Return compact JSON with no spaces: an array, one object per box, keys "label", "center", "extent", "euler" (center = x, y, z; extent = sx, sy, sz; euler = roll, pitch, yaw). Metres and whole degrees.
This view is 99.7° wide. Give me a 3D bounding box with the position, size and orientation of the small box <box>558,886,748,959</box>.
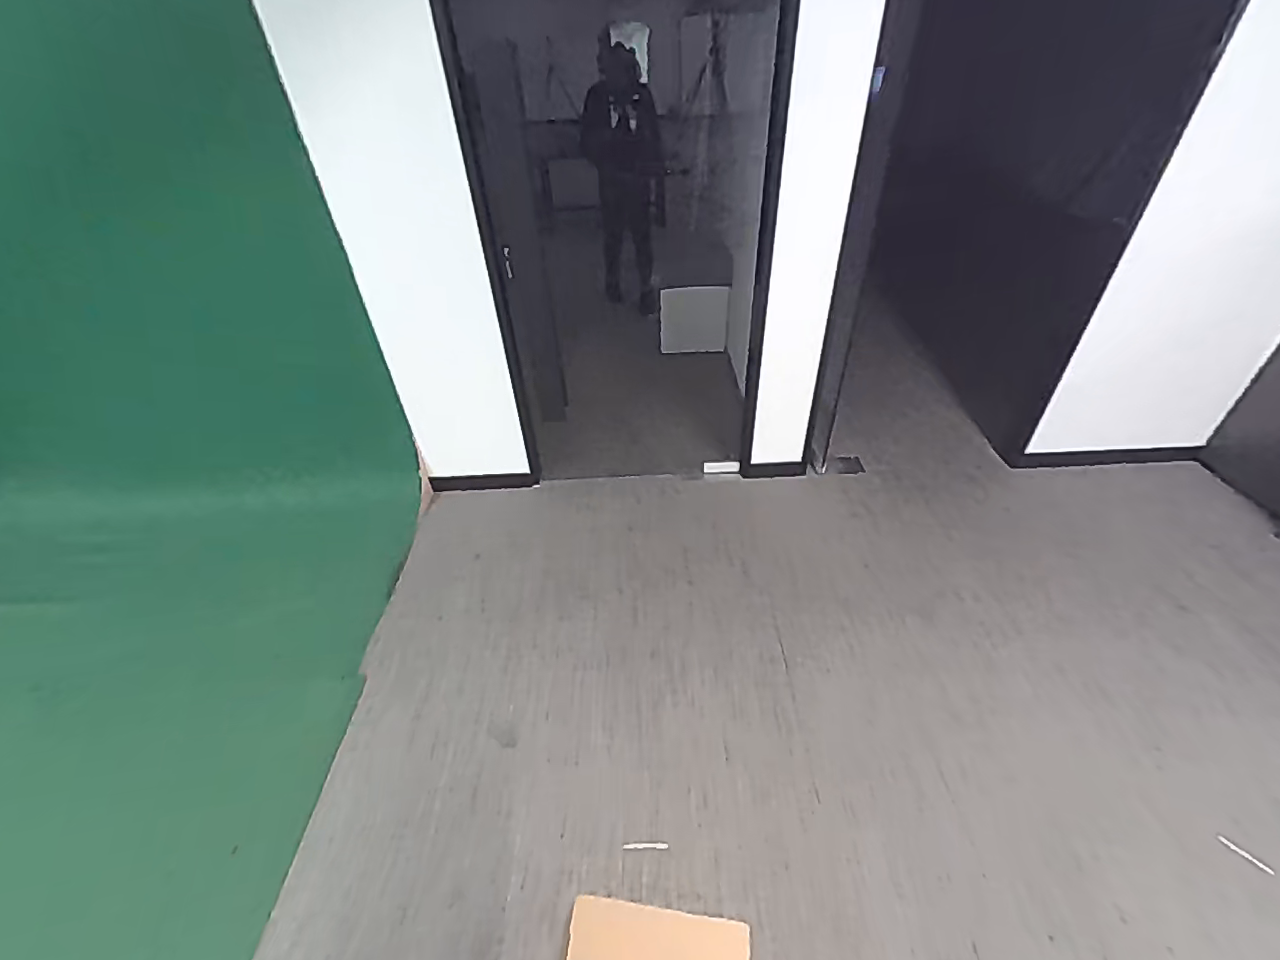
[{"label":"small box","center":[-0.002,0.524,0.524],"extent":[0.179,0.176,0.168],"euler":[11,44,0]}]
